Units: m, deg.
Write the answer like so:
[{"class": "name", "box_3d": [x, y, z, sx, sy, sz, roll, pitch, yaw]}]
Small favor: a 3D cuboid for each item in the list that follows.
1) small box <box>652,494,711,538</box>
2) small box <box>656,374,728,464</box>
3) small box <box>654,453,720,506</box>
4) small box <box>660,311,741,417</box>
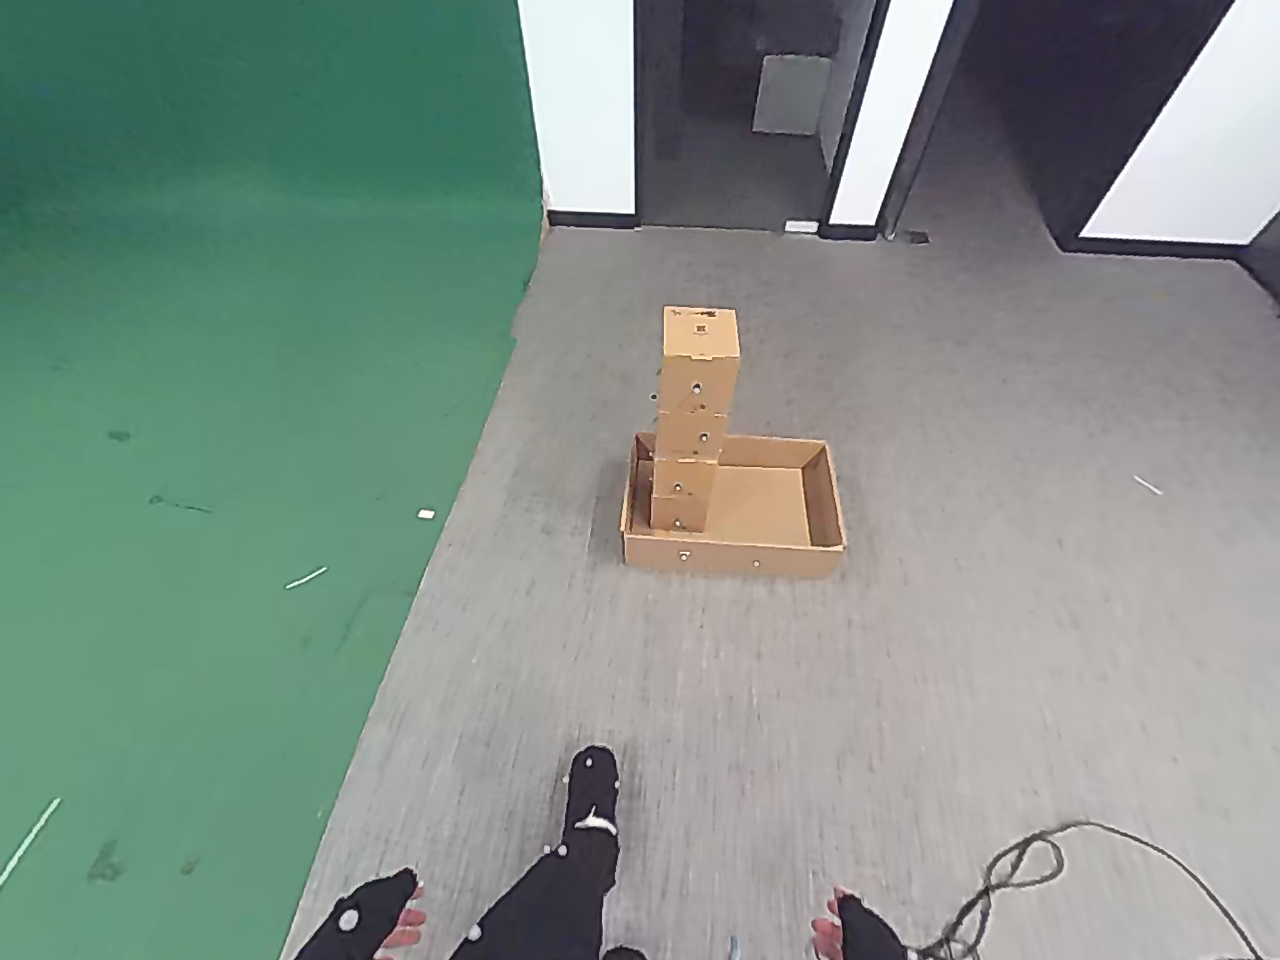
[{"class": "small box", "box_3d": [0.125, 0.051, 1.622, 0.168, 0.176, 0.179, 5, 52, 3]}, {"class": "small box", "box_3d": [0.130, -0.158, 1.372, 0.168, 0.176, 0.179, 4, 51, 0]}, {"class": "small box", "box_3d": [0.128, -0.052, 1.496, 0.168, 0.176, 0.179, 5, 52, 2]}, {"class": "small box", "box_3d": [0.135, -0.263, 1.246, 0.168, 0.176, 0.179, 4, 52, 0]}]
